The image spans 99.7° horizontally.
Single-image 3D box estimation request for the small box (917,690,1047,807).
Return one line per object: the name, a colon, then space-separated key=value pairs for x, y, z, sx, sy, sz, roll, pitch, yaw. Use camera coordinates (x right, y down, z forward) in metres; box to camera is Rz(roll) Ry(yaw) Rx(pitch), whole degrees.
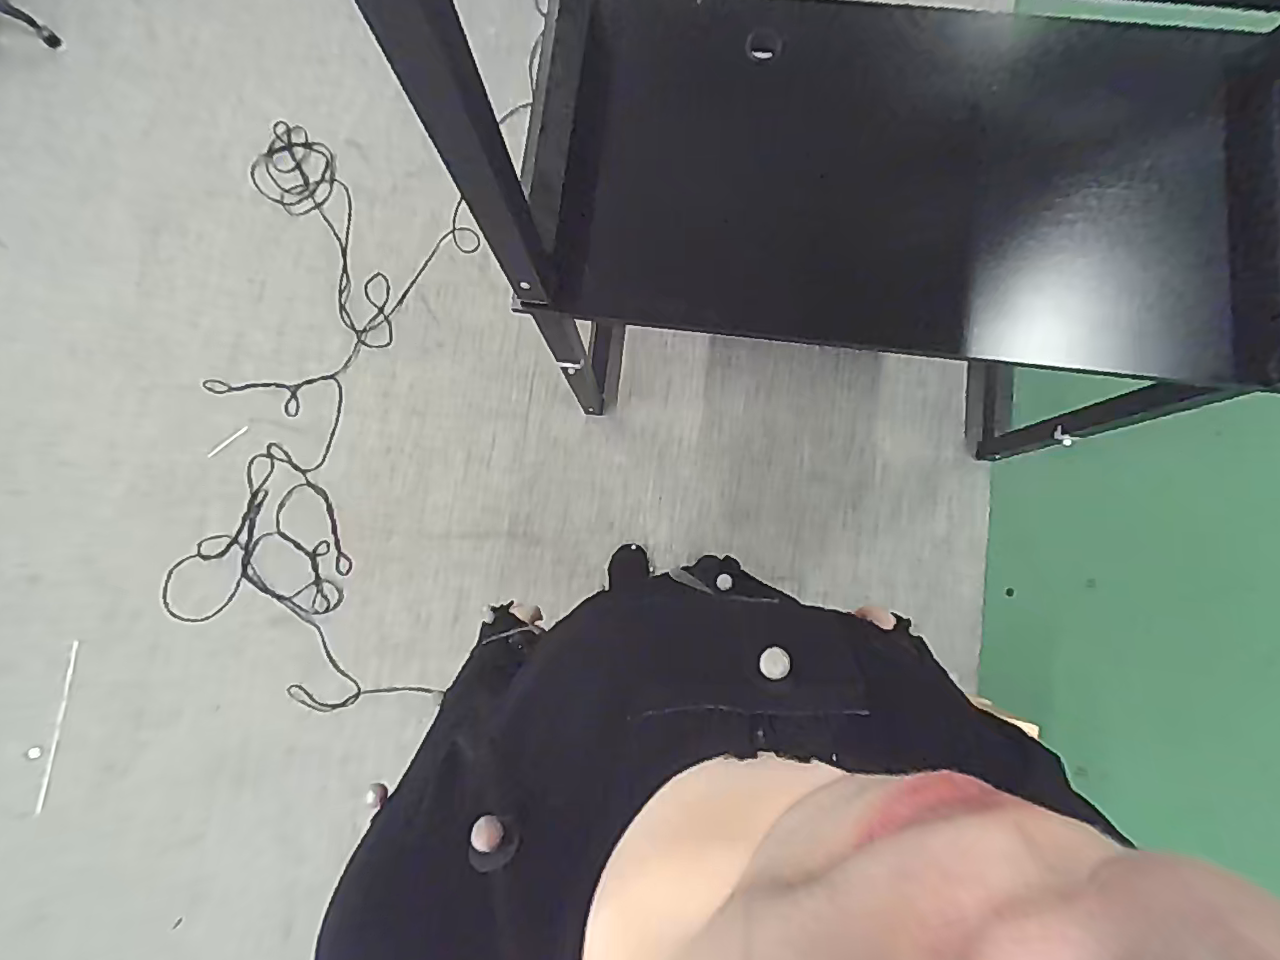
small box: x=0.743 y=0.579 z=1.192 sx=0.179 sy=0.176 sz=0.168 roll=14 pitch=83 yaw=4
